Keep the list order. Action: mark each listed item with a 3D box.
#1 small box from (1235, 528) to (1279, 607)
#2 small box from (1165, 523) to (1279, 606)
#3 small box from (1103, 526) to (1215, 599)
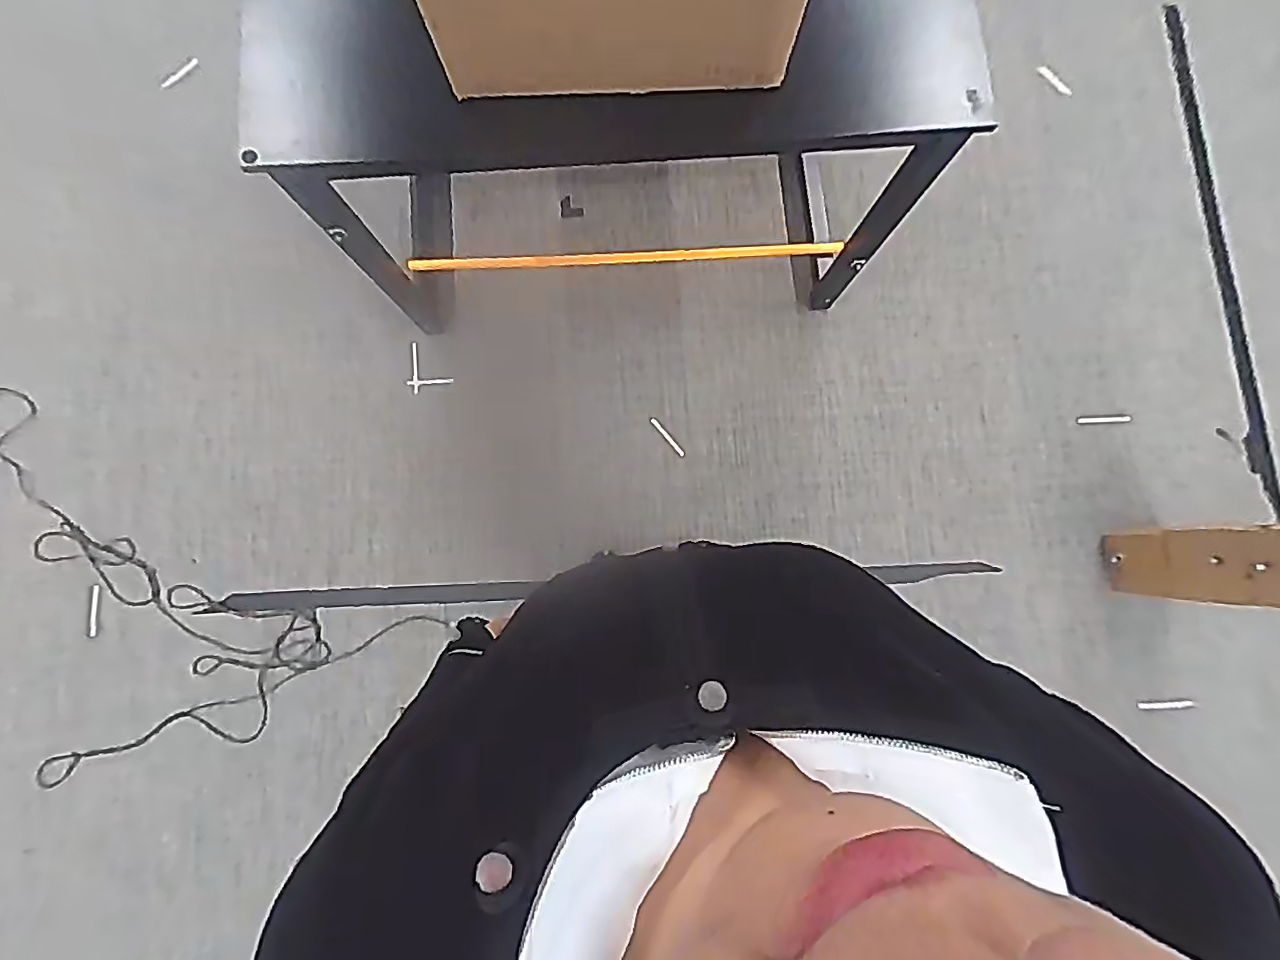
[{"bbox_3d":[1.407,0.180,1.112,0.179,0.176,0.168,-1,83,0],"label":"small box"},{"bbox_3d":[1.402,0.196,1.276,0.168,0.176,0.179,-4,84,-1],"label":"small box"},{"bbox_3d":[1.400,0.215,1.440,0.179,0.176,0.168,-9,83,0],"label":"small box"}]
